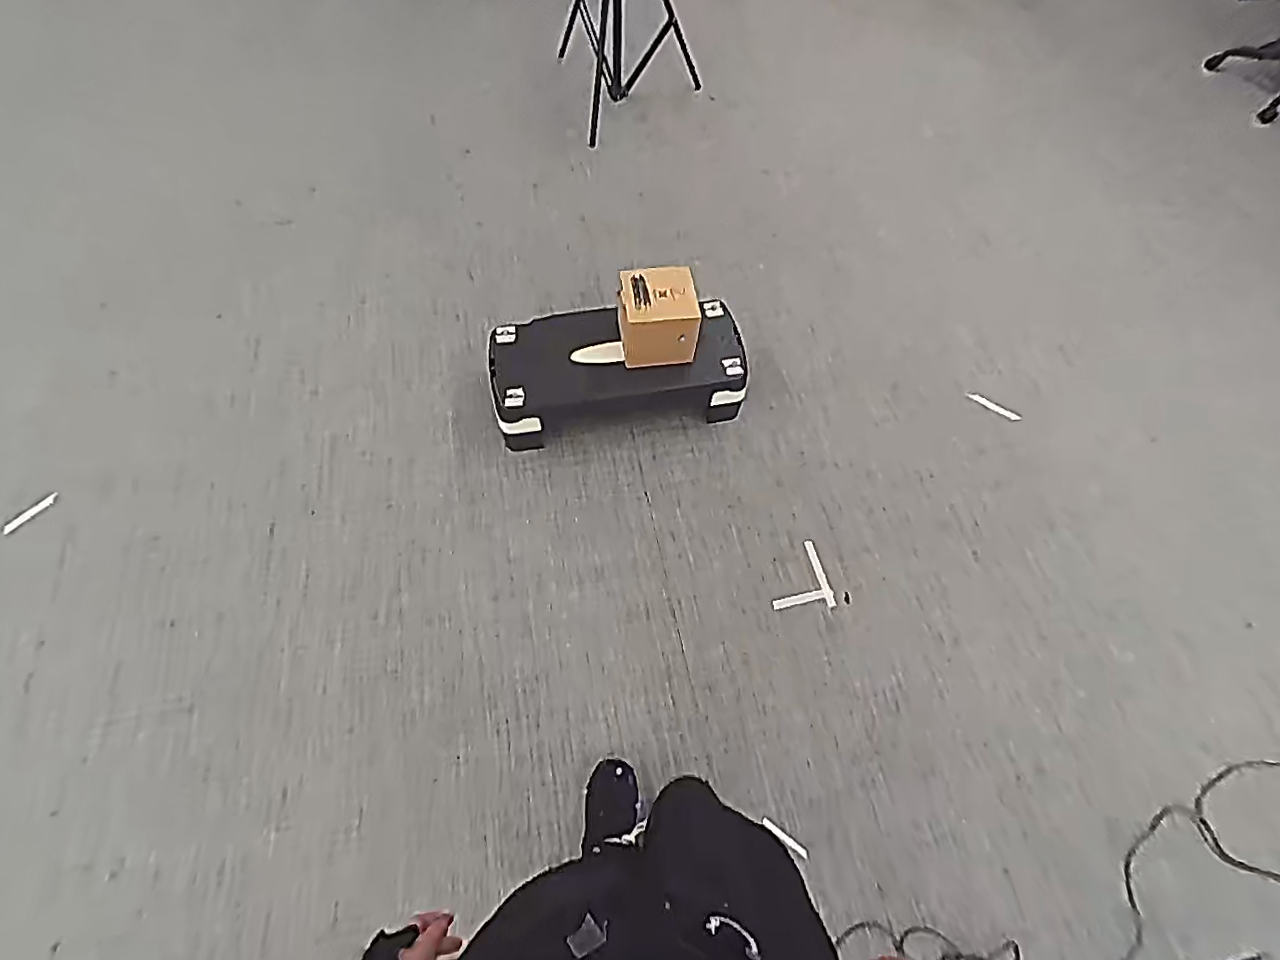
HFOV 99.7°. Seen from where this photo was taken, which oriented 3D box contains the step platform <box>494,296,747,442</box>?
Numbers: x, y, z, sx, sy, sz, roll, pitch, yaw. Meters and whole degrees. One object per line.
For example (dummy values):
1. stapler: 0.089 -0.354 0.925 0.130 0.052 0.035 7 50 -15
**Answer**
1. step platform: -0.054 -0.314 1.504 0.684 0.204 0.286 -10 65 -7
